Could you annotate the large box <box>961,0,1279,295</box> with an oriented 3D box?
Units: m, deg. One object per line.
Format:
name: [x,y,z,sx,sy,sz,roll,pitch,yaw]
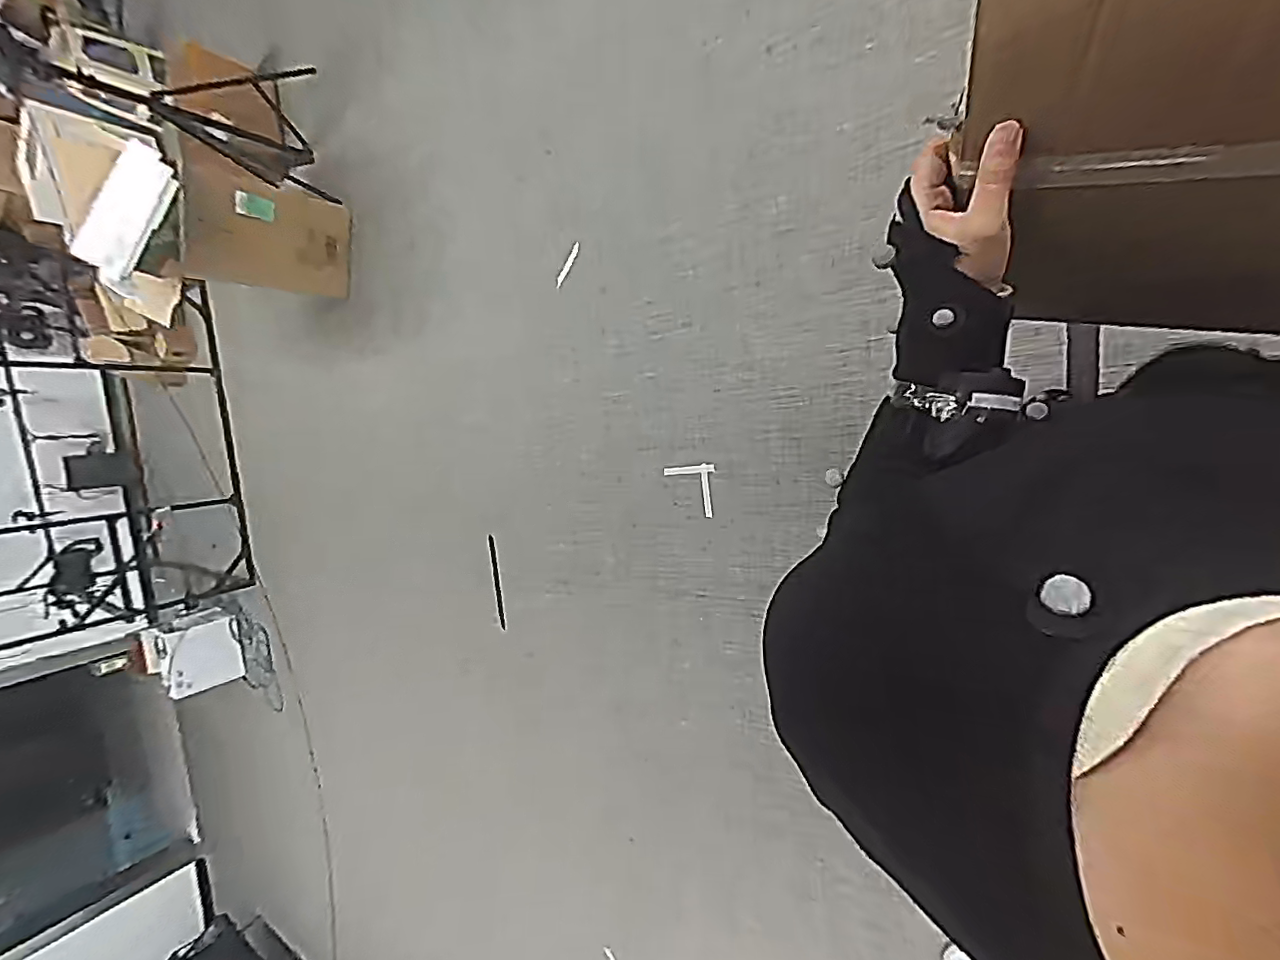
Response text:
large box: [0.404,-0.303,0.240,0.408,0.320,0.320,13,79,31]
